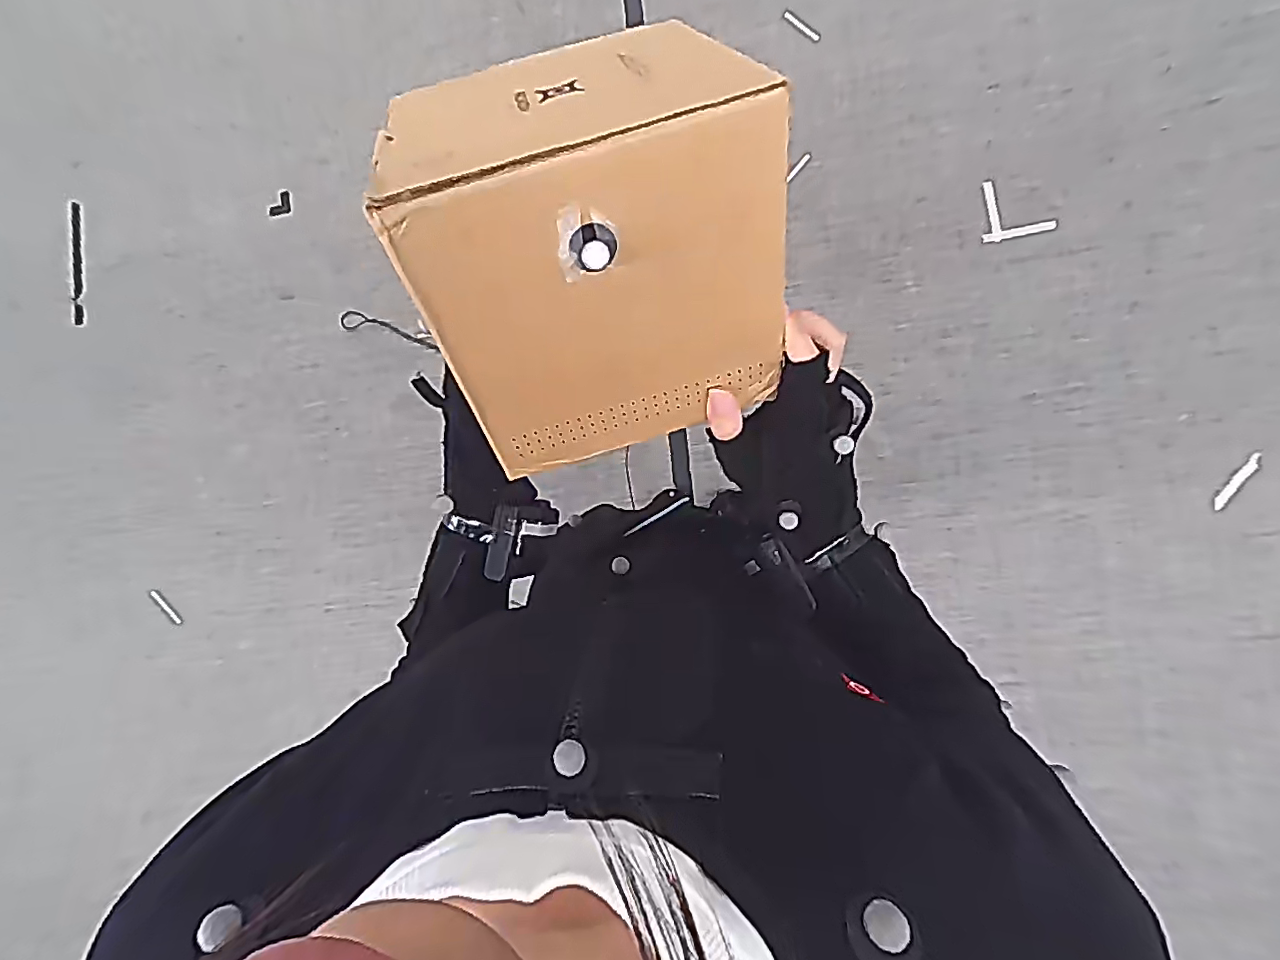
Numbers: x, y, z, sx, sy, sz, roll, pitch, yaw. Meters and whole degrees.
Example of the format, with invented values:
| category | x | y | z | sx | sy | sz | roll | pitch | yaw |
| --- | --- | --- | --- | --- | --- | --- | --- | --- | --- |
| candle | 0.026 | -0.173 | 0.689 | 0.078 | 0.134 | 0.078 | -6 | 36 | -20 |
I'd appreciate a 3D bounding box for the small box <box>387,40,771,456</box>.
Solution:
| category | x | y | z | sx | sy | sz | roll | pitch | yaw |
| --- | --- | --- | --- | --- | --- | --- | --- | --- | --- |
| small box | -0.027 | -0.140 | 0.341 | 0.179 | 0.176 | 0.168 | -17 | 48 | -2 |
